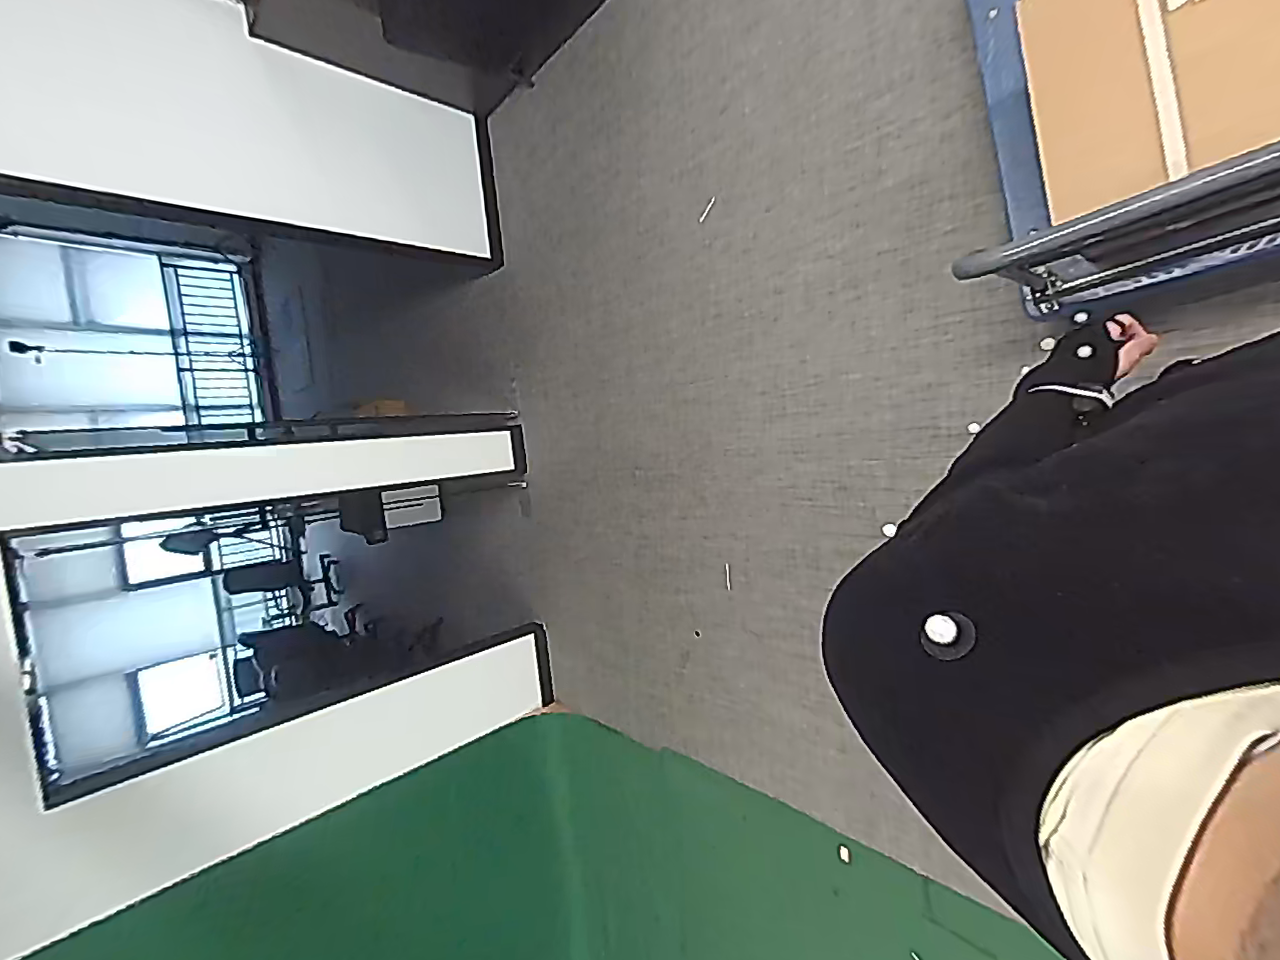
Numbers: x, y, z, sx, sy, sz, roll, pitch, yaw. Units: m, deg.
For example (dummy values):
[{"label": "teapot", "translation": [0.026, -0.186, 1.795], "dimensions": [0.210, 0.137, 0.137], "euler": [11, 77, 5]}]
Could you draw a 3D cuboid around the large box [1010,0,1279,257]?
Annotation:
[{"label": "large box", "translation": [0.889, -0.662, 0.925], "dimensions": [0.320, 0.320, 0.408], "euler": [-11, 88, 47]}]
